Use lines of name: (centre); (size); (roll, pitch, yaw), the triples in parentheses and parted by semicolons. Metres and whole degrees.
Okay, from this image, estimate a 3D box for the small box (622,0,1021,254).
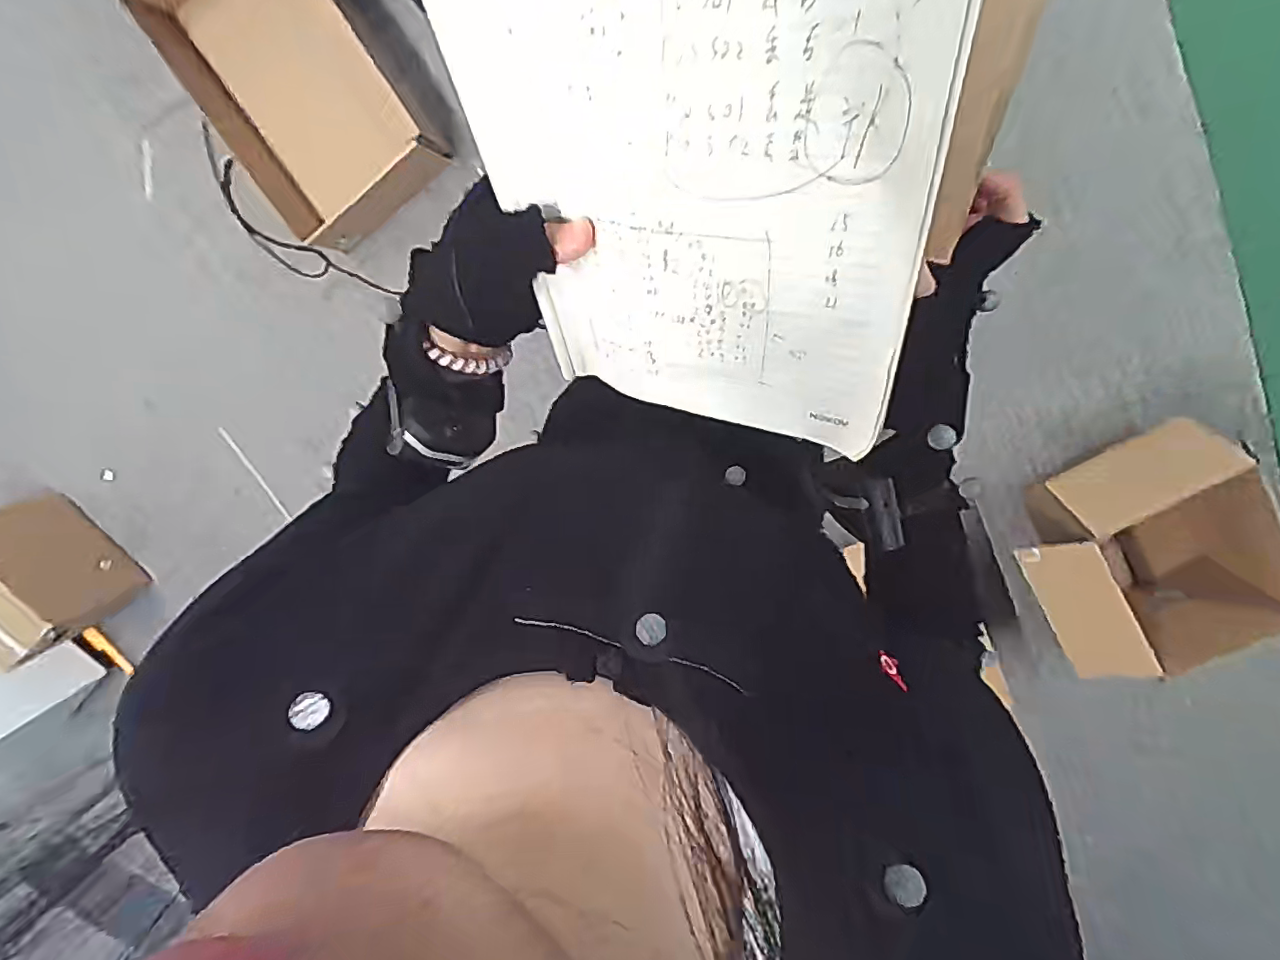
small box: (0.089, -0.240, 0.316); (0.168, 0.176, 0.179); (10, 115, 1)
